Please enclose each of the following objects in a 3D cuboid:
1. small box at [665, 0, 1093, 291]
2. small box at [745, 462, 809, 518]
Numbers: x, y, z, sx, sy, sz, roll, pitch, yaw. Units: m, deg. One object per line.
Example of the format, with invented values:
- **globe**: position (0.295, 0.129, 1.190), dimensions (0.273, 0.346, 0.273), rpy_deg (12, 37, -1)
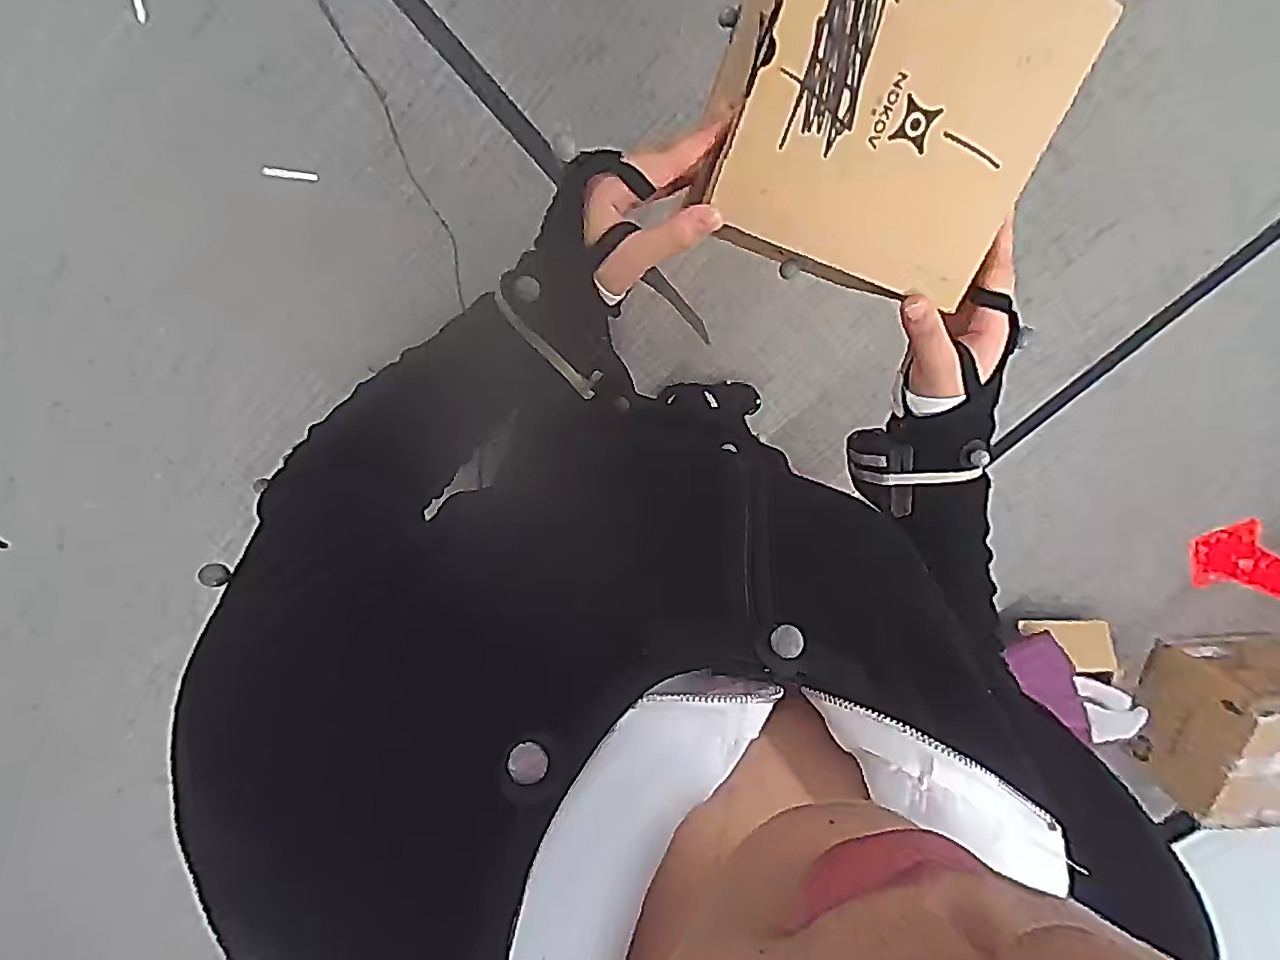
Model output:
- **small box**: position (0.126, -0.242, 0.366), dimensions (0.179, 0.176, 0.168), rpy_deg (14, 114, -12)
- **small box**: position (0.415, 0.070, 1.500), dimensions (0.168, 0.176, 0.179), rpy_deg (-43, 107, 14)
